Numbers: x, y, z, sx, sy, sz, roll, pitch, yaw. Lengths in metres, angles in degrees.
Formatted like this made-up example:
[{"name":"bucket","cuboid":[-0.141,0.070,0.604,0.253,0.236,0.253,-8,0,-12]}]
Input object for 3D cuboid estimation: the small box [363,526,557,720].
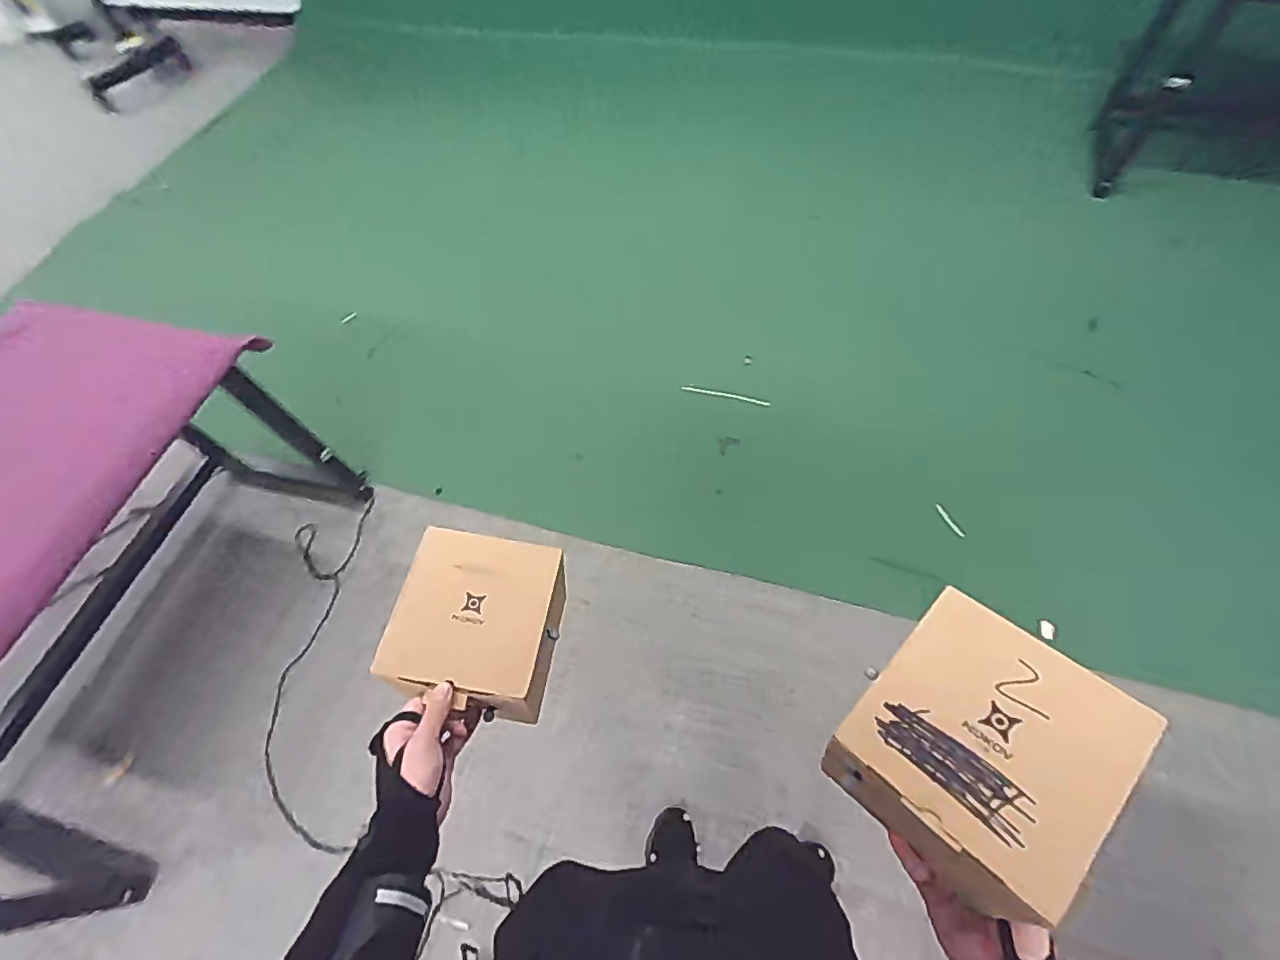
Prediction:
[{"name":"small box","cuboid":[-0.200,0.182,0.664,0.168,0.176,0.179,10,57,0]}]
